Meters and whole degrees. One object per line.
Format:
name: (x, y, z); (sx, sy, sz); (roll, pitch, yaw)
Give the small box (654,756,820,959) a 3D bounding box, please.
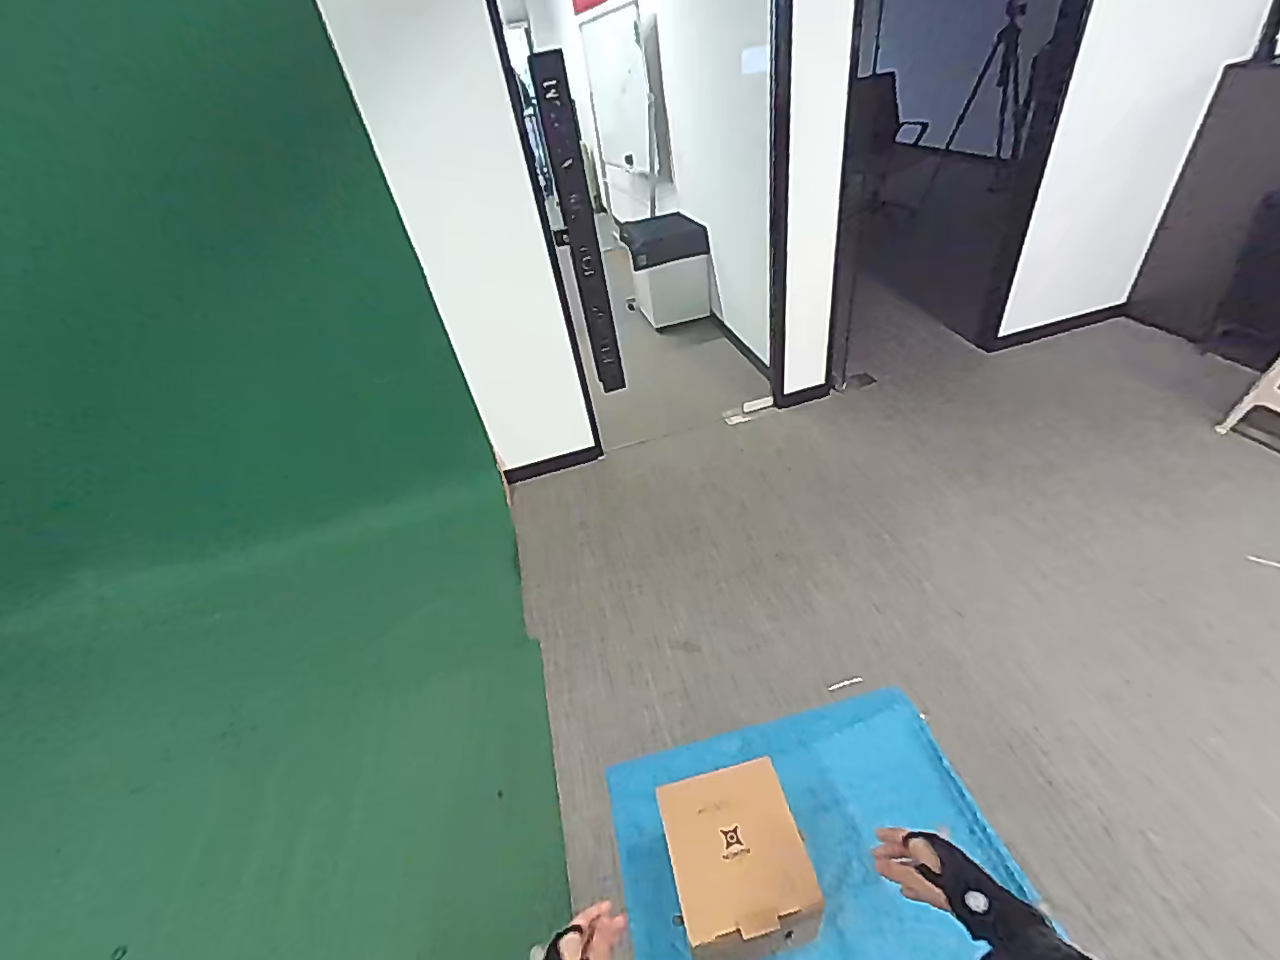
small box: (0.123, 0.508, 0.720); (0.168, 0.176, 0.179); (-12, 37, -4)
